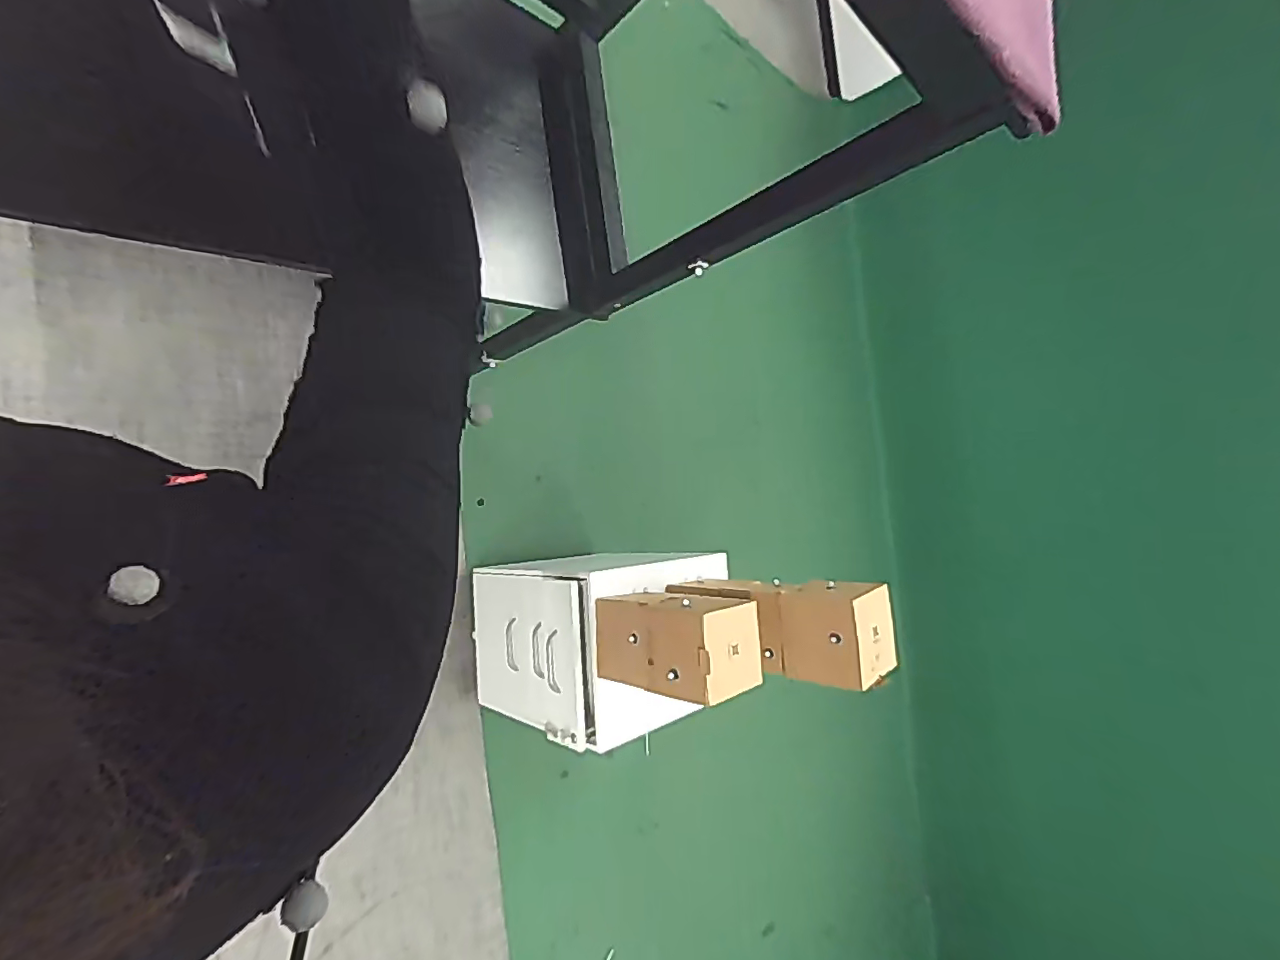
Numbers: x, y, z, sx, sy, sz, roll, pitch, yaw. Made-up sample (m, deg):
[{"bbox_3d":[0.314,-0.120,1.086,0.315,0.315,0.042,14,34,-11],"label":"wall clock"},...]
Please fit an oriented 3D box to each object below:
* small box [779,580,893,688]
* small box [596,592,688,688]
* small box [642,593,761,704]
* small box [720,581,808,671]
[{"bbox_3d":[0.405,0.308,1.128,0.168,0.176,0.179,-5,90,-44],"label":"small box"},{"bbox_3d":[0.016,0.343,1.198,0.168,0.176,0.179,4,83,-45],"label":"small box"},{"bbox_3d":[0.116,0.323,1.072,0.179,0.176,0.168,-1,86,-45],"label":"small box"},{"bbox_3d":[0.295,0.327,1.248,0.168,0.176,0.179,5,83,-45],"label":"small box"}]
